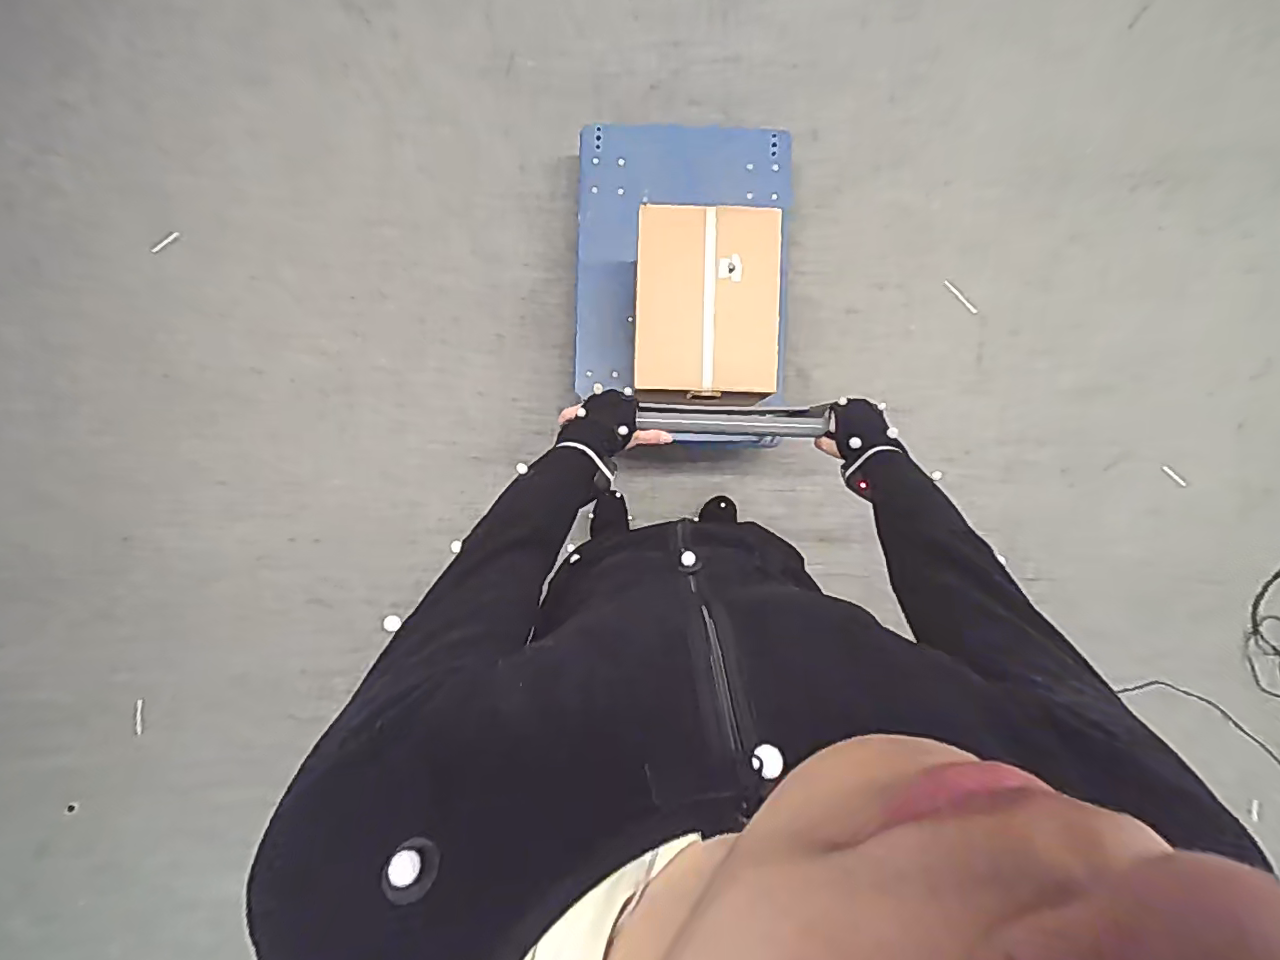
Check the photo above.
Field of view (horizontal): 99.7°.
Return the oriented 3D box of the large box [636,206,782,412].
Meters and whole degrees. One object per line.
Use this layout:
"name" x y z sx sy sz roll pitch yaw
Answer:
"large box" 0.149 -0.383 1.307 0.320 0.320 0.408 1 89 -2
